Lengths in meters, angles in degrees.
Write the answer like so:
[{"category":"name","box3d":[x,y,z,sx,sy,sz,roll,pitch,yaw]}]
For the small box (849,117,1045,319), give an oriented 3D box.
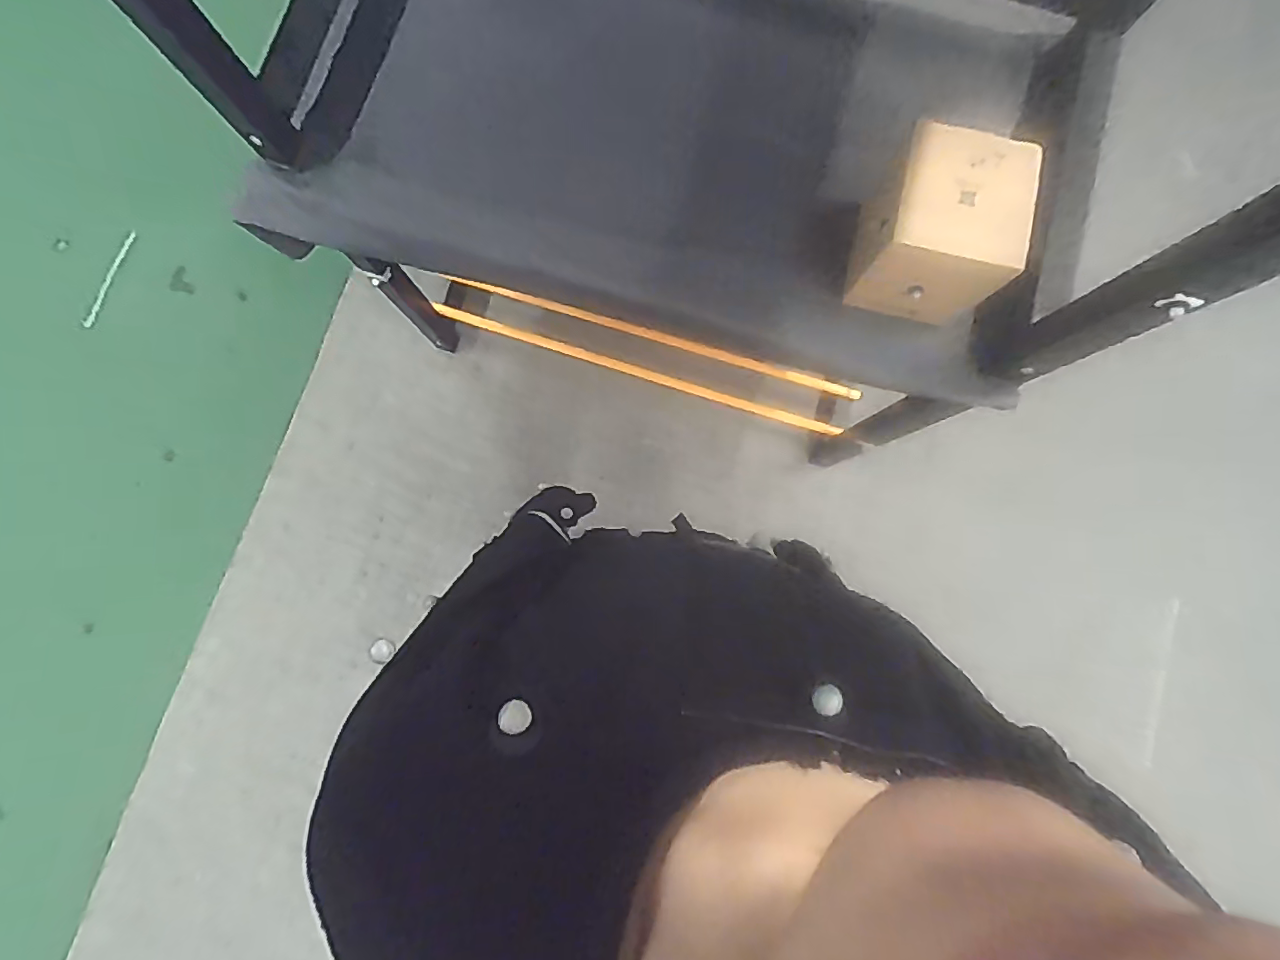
[{"category":"small box","box3d":[0.410,-0.348,0.750,0.168,0.176,0.179,13,82,1]}]
